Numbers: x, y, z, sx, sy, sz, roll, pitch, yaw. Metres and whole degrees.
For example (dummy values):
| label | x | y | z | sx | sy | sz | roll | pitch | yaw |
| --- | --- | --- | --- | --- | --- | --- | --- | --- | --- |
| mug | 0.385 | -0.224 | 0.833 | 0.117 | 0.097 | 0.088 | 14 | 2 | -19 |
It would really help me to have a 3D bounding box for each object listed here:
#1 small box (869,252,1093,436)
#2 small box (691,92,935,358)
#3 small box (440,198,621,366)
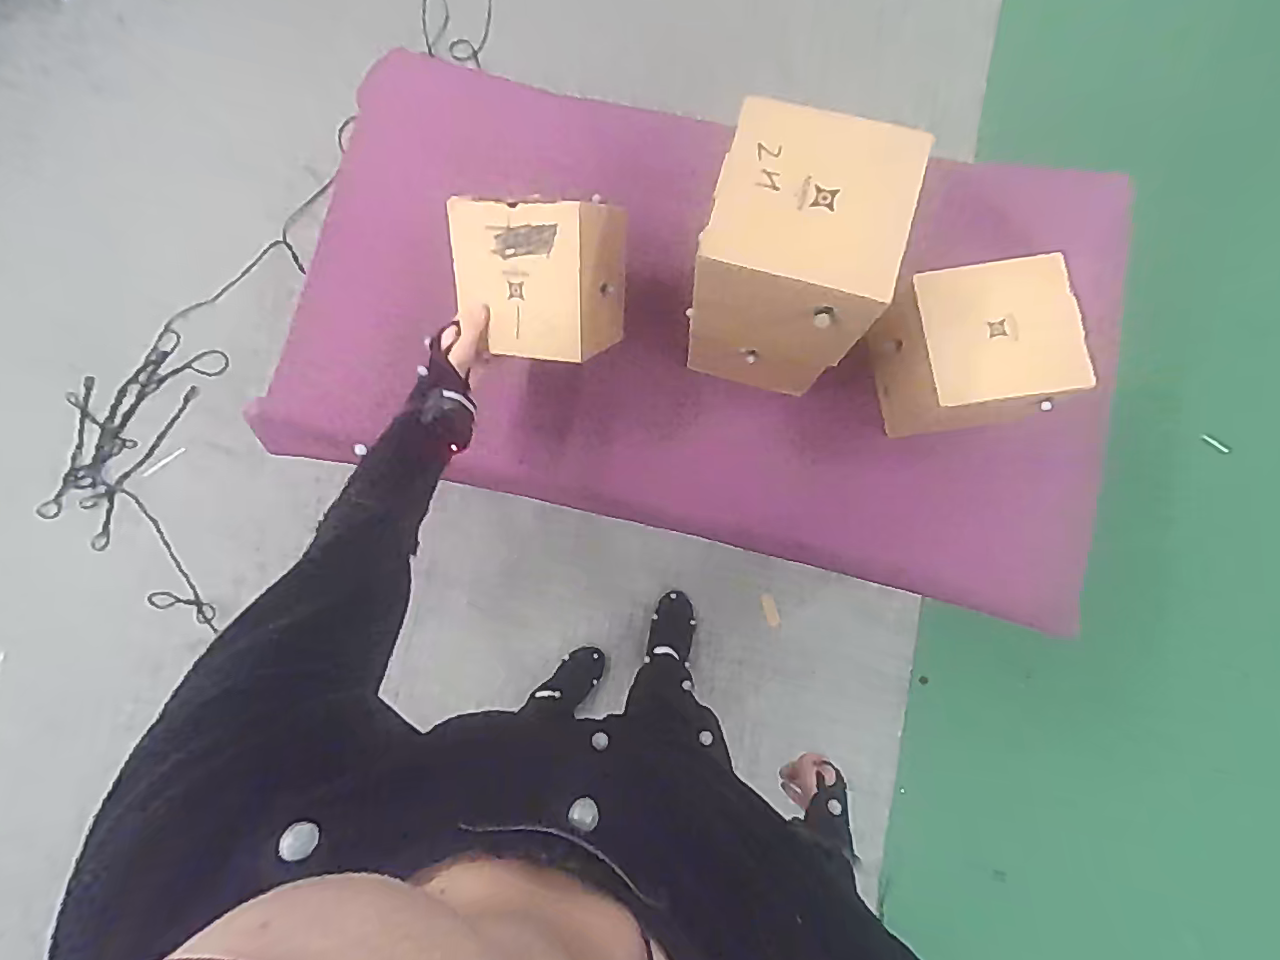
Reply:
| label | x | y | z | sx | sy | sz | roll | pitch | yaw |
| --- | --- | --- | --- | --- | --- | --- | --- | --- | --- |
| small box | 0.414 | -0.161 | 0.696 | 0.179 | 0.176 | 0.168 | -8 | 81 | 2 |
| small box | 0.159 | -0.242 | 0.555 | 0.179 | 0.176 | 0.168 | 17 | 84 | 5 |
| small box | -0.128 | -0.259 | 0.694 | 0.168 | 0.176 | 0.179 | 9 | 118 | 14 |
